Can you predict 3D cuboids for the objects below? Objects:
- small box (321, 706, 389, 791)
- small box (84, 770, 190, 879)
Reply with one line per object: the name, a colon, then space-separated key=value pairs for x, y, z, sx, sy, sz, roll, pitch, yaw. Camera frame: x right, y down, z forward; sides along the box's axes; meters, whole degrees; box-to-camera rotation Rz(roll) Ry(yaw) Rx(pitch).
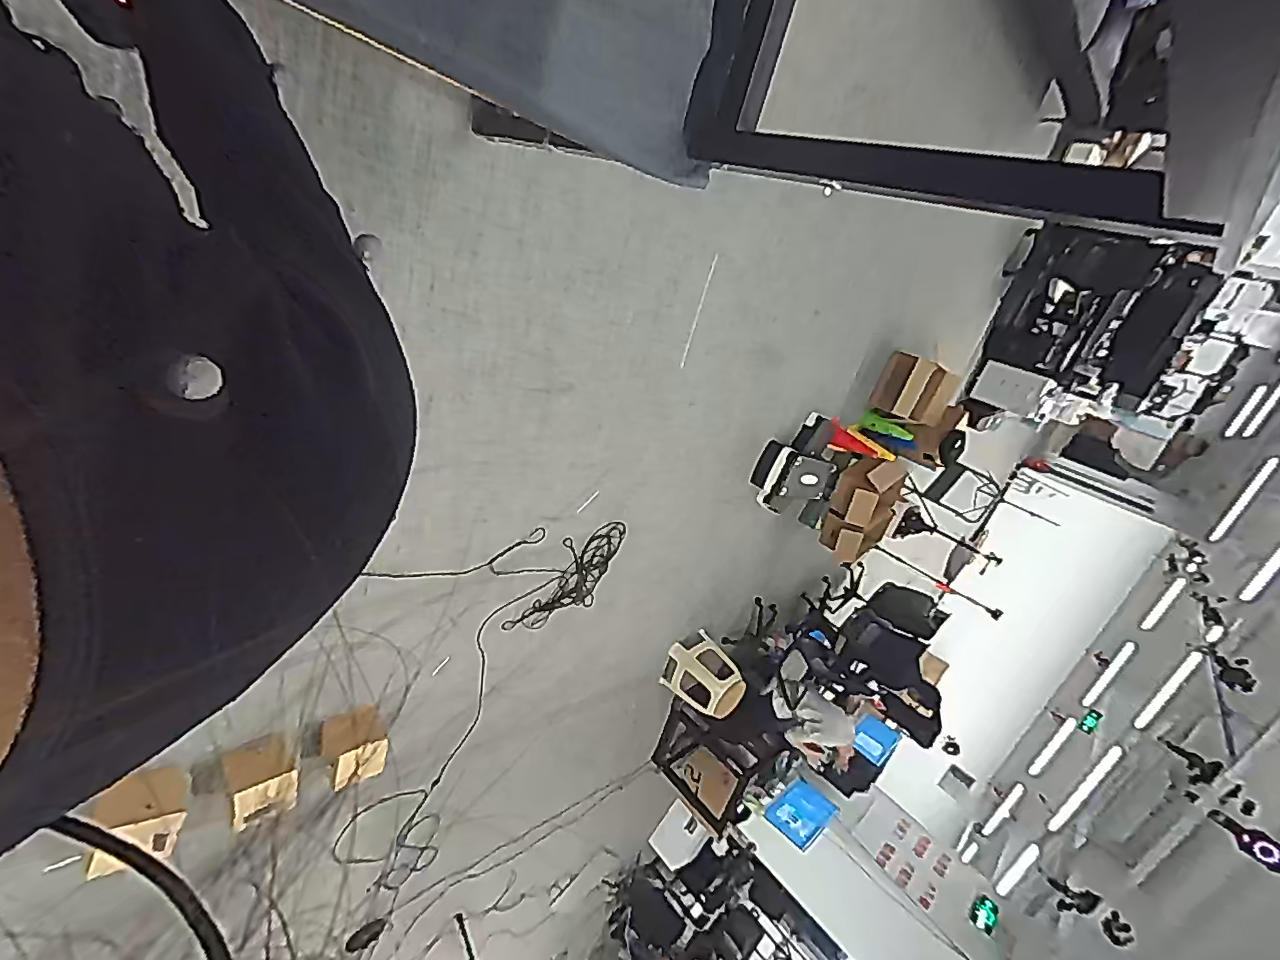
small box: x=-1.021 y=0.951 z=1.929 sx=0.168 sy=0.176 sz=0.179 roll=-5 pitch=119 yaw=-47
small box: x=-1.392 y=0.939 z=1.495 sx=0.179 sy=0.176 sz=0.168 roll=16 pitch=104 yaw=-51
